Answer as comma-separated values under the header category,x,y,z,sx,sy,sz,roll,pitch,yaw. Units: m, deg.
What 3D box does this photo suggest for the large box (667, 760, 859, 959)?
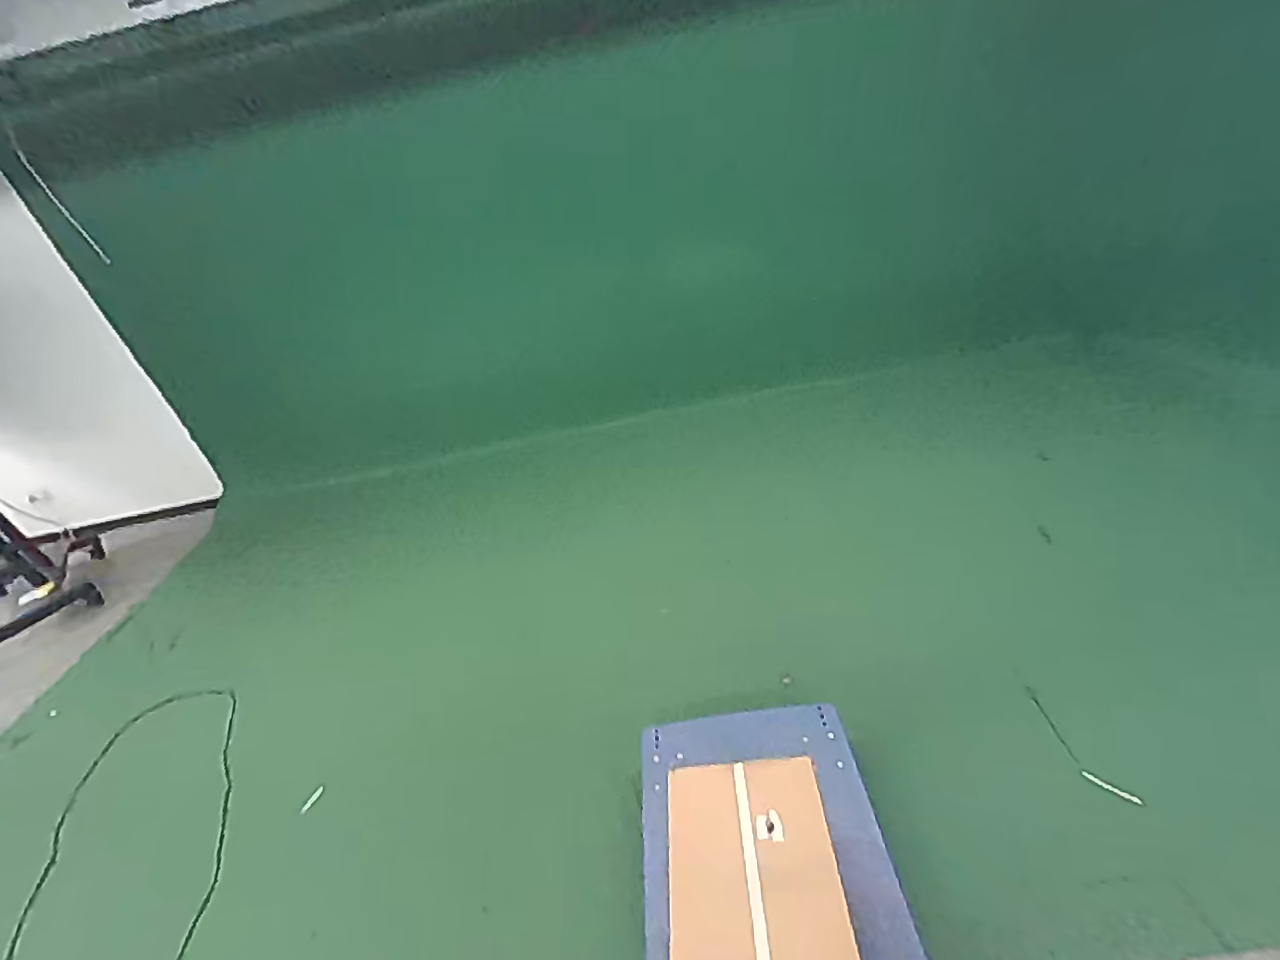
category,x,y,z,sx,sy,sz,roll,pitch,yaw
large box,0.237,0.854,1.088,0.320,0.320,0.408,-9,31,8
